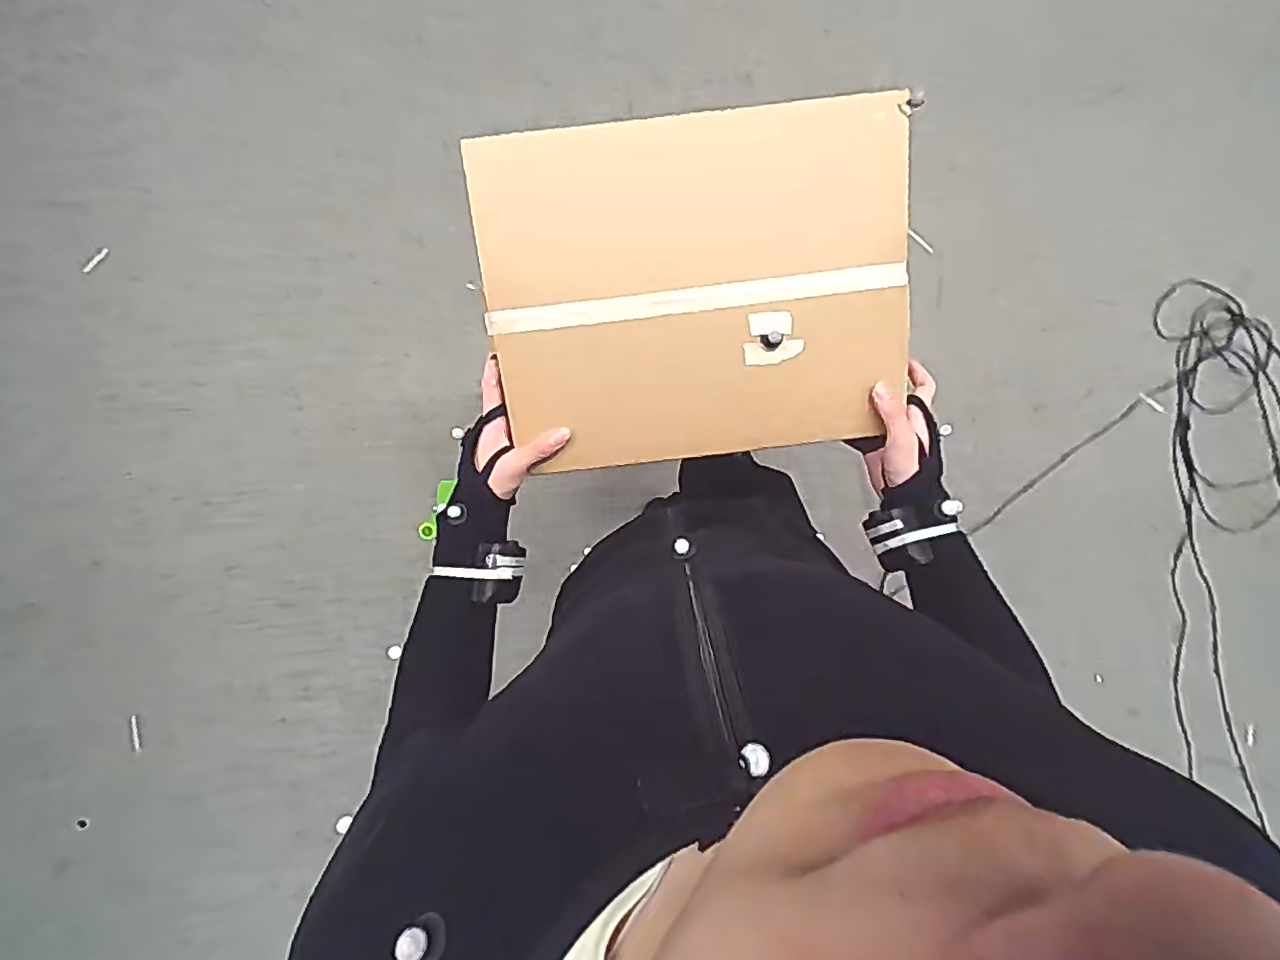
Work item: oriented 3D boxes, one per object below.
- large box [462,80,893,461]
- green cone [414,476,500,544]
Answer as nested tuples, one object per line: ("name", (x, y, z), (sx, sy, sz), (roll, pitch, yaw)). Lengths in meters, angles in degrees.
("large box", (0.043, -0.229, 0.673), (0.408, 0.320, 0.320), (-7, 106, -1))
("green cone", (-0.516, 0.103, 1.440), (0.200, 0.368, 0.202), (2, 94, -1))
